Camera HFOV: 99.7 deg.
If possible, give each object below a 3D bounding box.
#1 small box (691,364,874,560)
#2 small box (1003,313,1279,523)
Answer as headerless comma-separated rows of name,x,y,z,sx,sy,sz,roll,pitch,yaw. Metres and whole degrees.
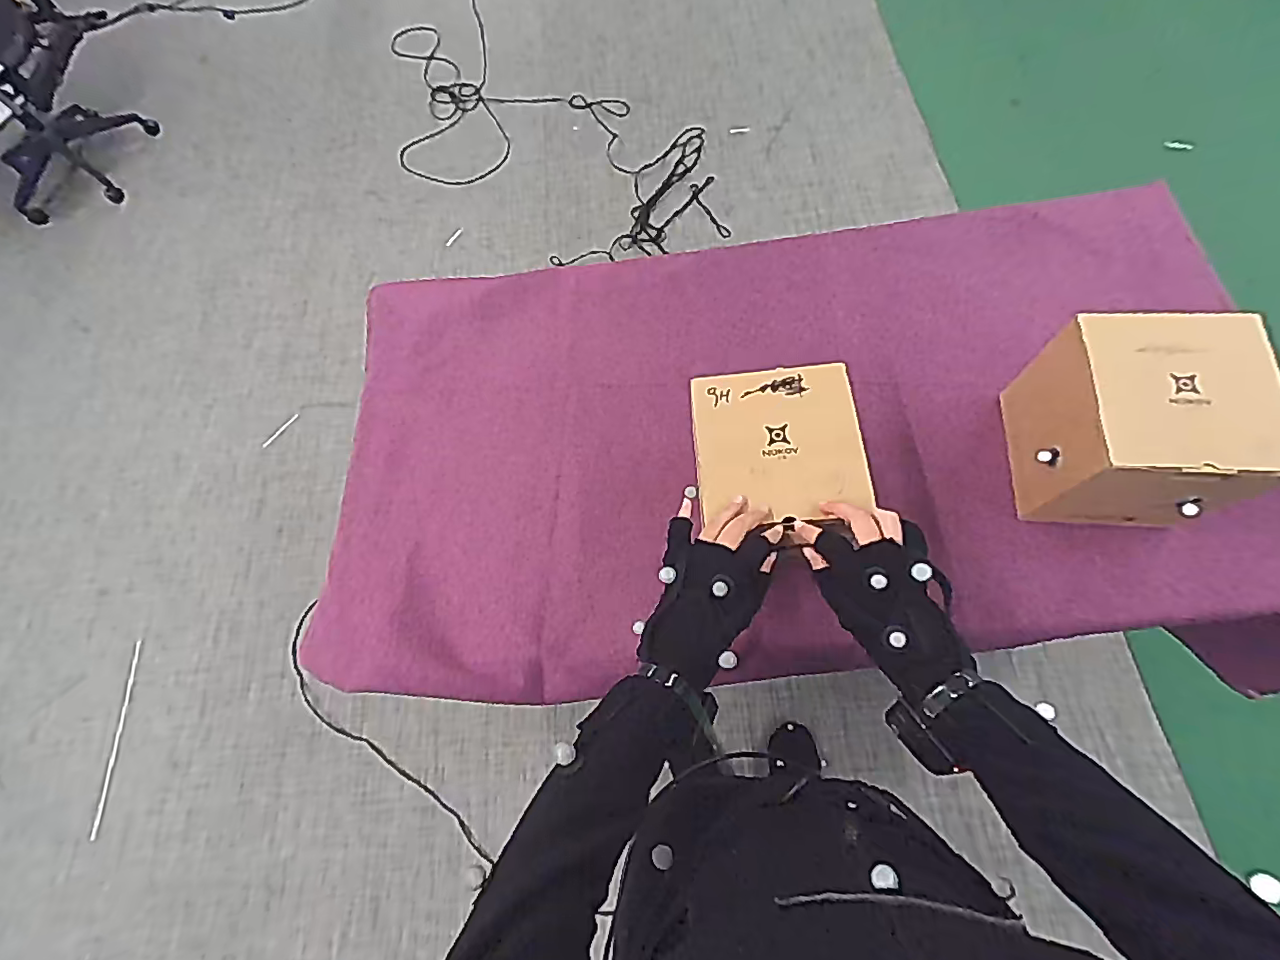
small box,0.150,-0.008,0.624,0.168,0.176,0.179,-5,69,6
small box,0.532,-0.059,0.591,0.168,0.176,0.179,3,69,9
